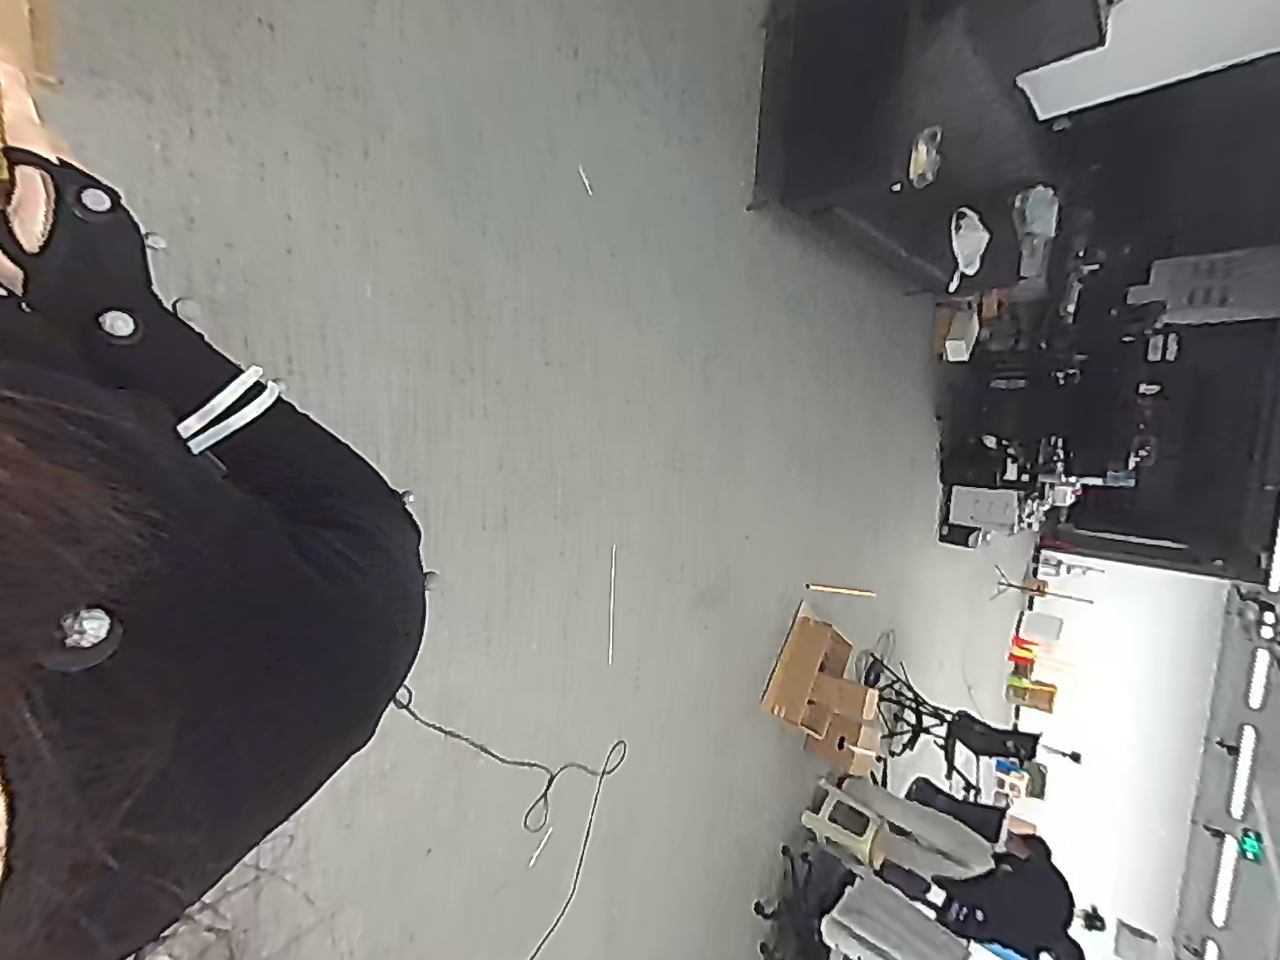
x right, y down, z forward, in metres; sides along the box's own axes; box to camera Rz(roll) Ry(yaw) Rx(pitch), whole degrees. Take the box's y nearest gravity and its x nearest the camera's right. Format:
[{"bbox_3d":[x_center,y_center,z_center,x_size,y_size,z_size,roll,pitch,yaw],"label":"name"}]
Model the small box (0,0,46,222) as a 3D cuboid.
[{"bbox_3d":[-0.492,-0.271,0.319,0.168,0.176,0.179,-6,102,-40],"label":"small box"}]
